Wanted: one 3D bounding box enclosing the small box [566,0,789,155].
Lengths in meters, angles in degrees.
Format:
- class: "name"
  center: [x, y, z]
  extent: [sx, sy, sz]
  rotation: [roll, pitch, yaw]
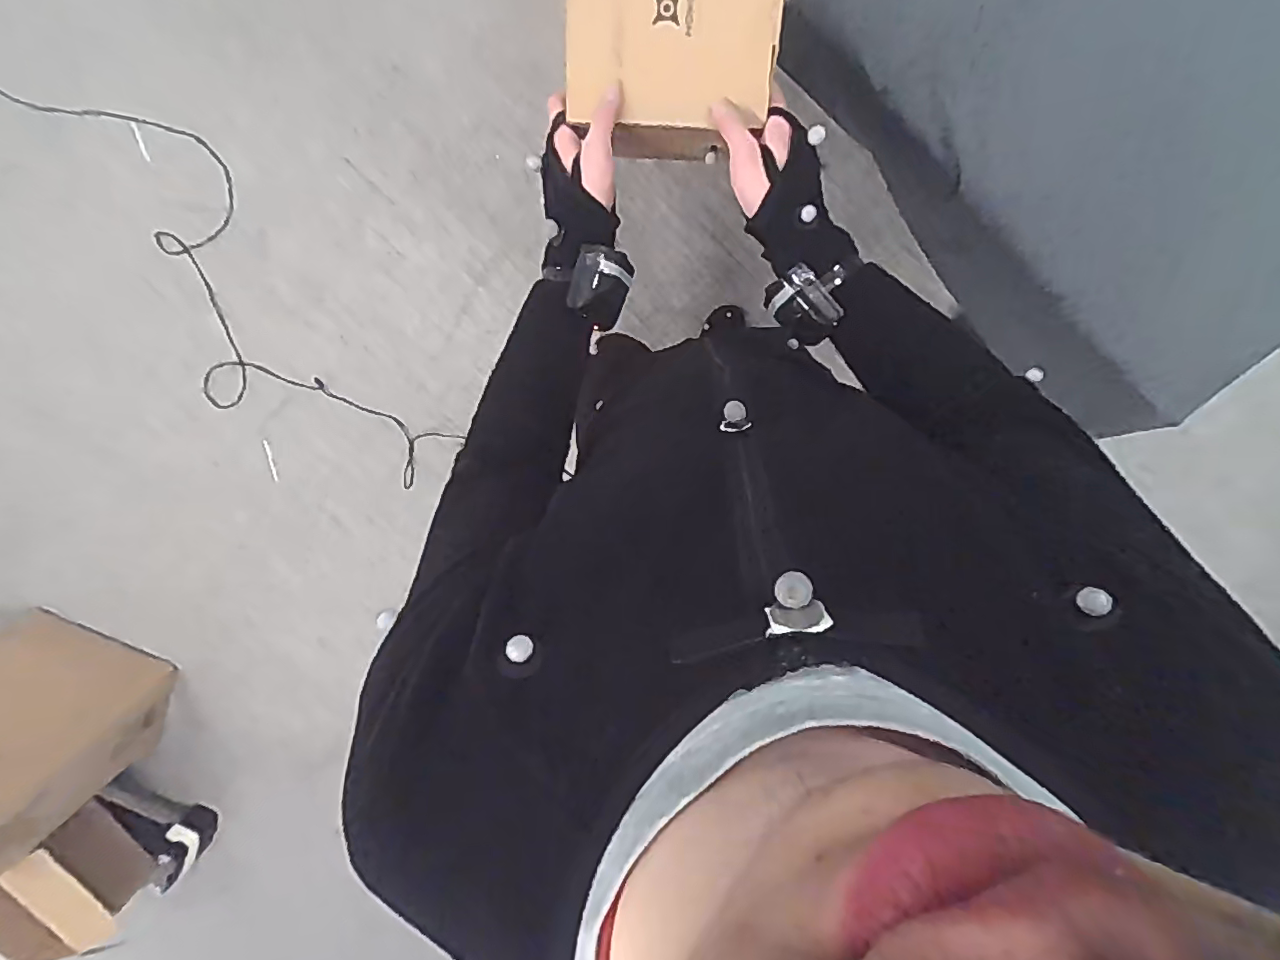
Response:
- class: "small box"
  center: [0.034, -0.408, 0.491]
  extent: [0.179, 0.176, 0.168]
  rotation: [4, 110, 3]
